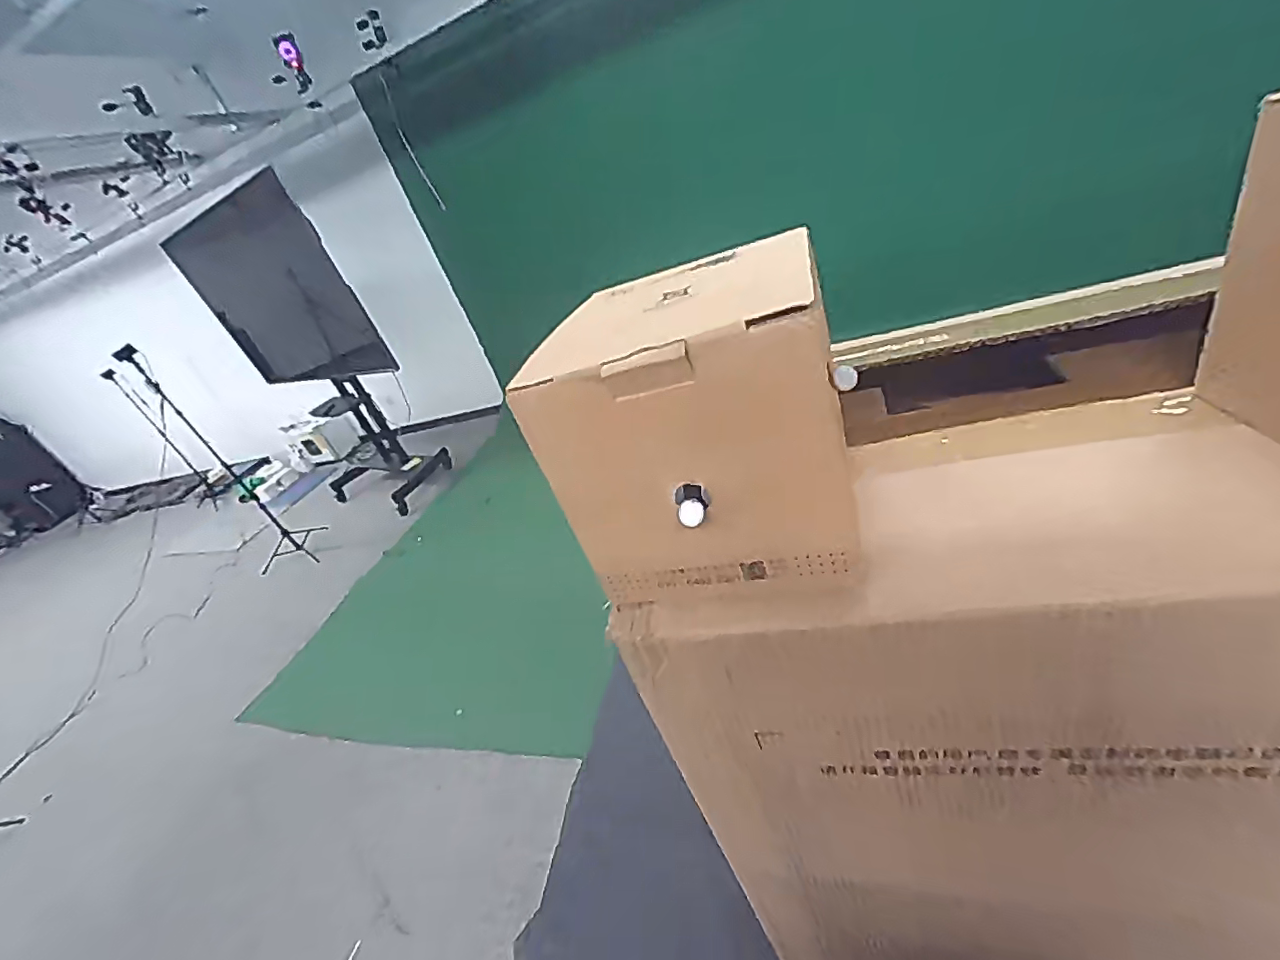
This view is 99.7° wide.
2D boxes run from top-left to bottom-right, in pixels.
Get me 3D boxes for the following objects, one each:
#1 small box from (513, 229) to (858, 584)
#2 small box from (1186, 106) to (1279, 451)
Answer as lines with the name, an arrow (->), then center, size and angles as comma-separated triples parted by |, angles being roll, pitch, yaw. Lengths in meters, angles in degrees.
small box -> 0.048, -0.043, 0.371 | 0.168, 0.176, 0.179 | -9, 33, 21
small box -> 0.402, -0.088, 0.229 | 0.168, 0.176, 0.179 | -11, 31, 12
